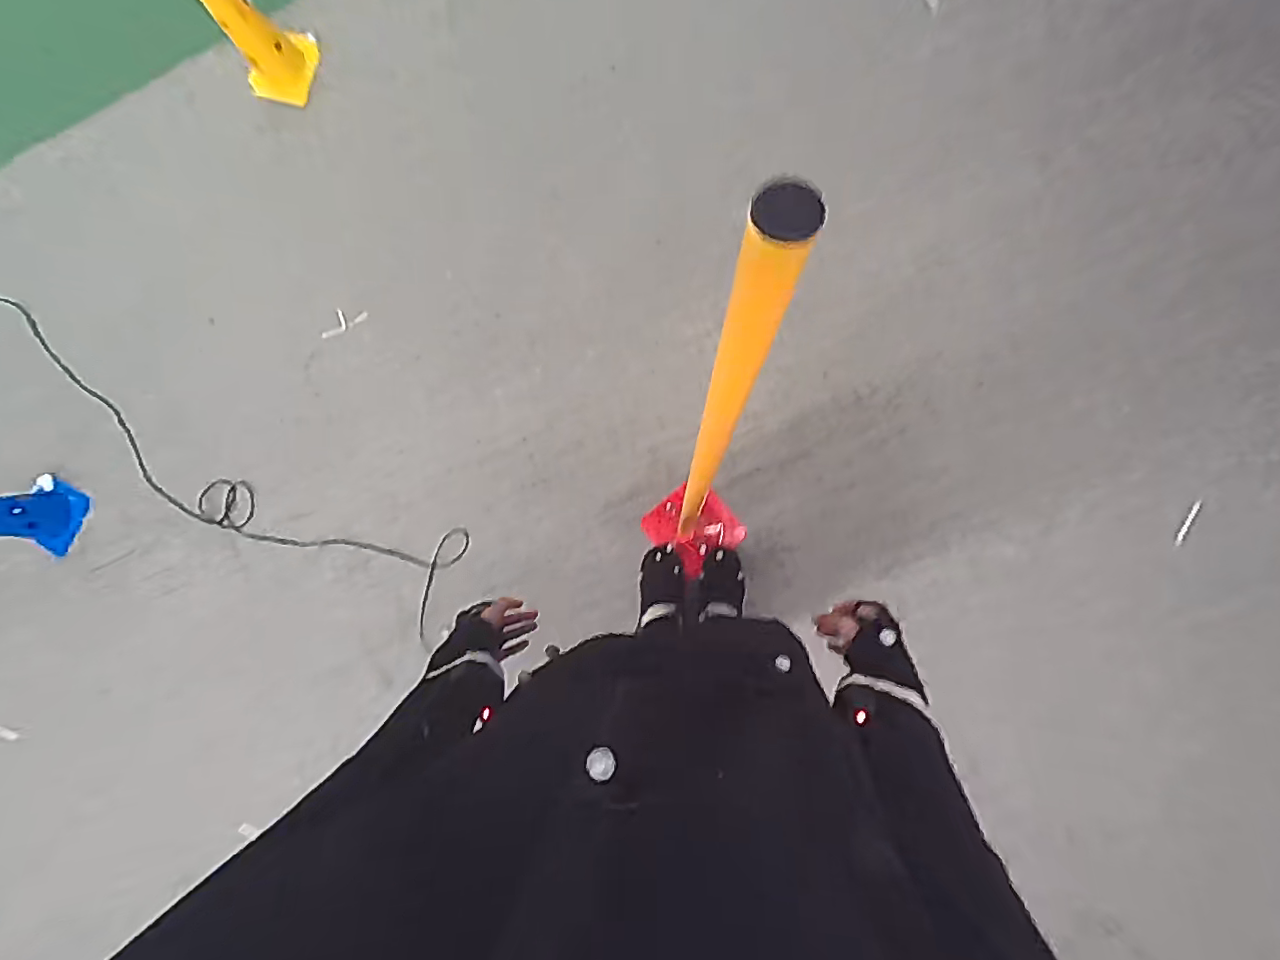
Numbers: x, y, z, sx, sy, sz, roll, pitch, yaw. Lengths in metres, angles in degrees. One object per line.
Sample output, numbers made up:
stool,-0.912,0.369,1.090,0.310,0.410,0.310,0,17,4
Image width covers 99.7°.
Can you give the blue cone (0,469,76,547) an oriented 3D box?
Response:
blue cone,-1.759,0.079,1.408,0.192,0.380,0.193,26,93,7
